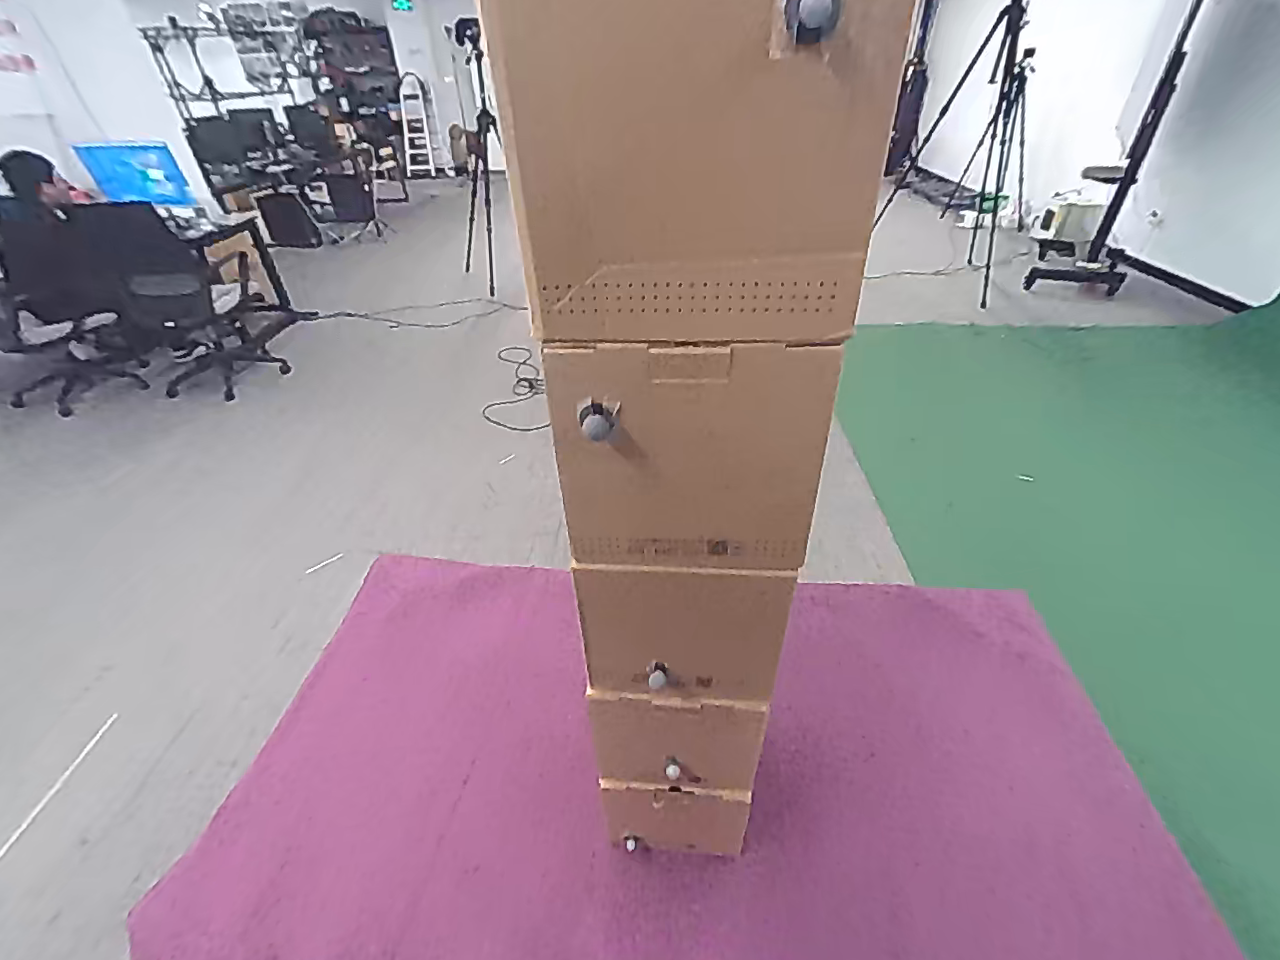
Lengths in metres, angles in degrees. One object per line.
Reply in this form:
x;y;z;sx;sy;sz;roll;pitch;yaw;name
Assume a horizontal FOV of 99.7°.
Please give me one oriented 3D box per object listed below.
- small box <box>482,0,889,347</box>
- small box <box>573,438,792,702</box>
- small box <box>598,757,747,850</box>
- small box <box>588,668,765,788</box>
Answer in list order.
0.027;-0.186;0.321;0.179;0.176;0.168;2;36;5;small box
0.039;0.079;0.510;0.168;0.176;0.179;2;37;5;small box
0.047;0.347;0.698;0.168;0.176;0.179;3;37;6;small box
0.042;0.211;0.605;0.168;0.176;0.179;2;38;6;small box
